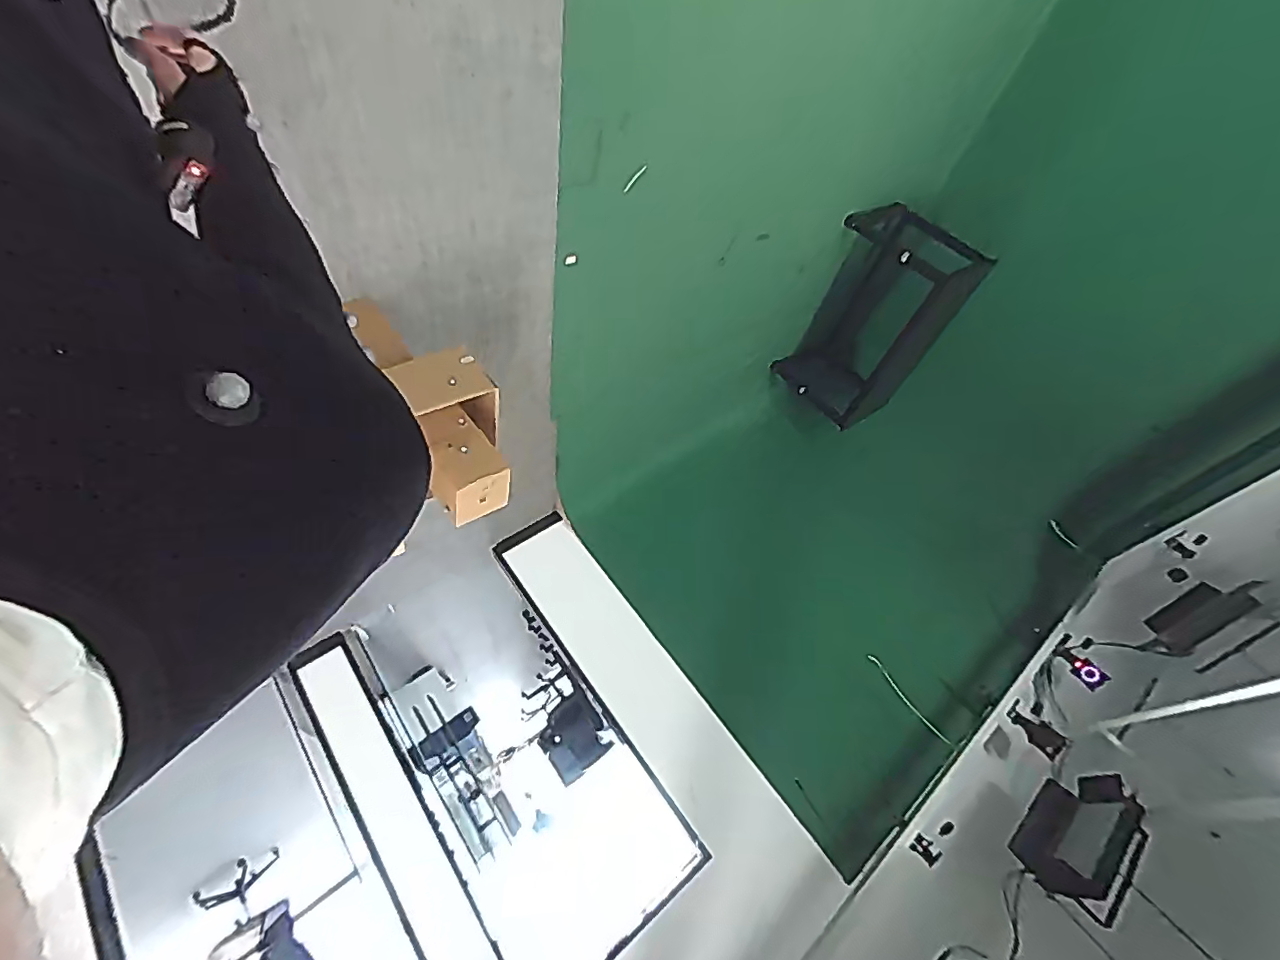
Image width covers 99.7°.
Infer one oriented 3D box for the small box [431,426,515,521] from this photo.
[{"bbox_3d":[-0.477,-0.021,1.536,0.168,0.176,0.179,-26,153,-33],"label":"small box"}]
